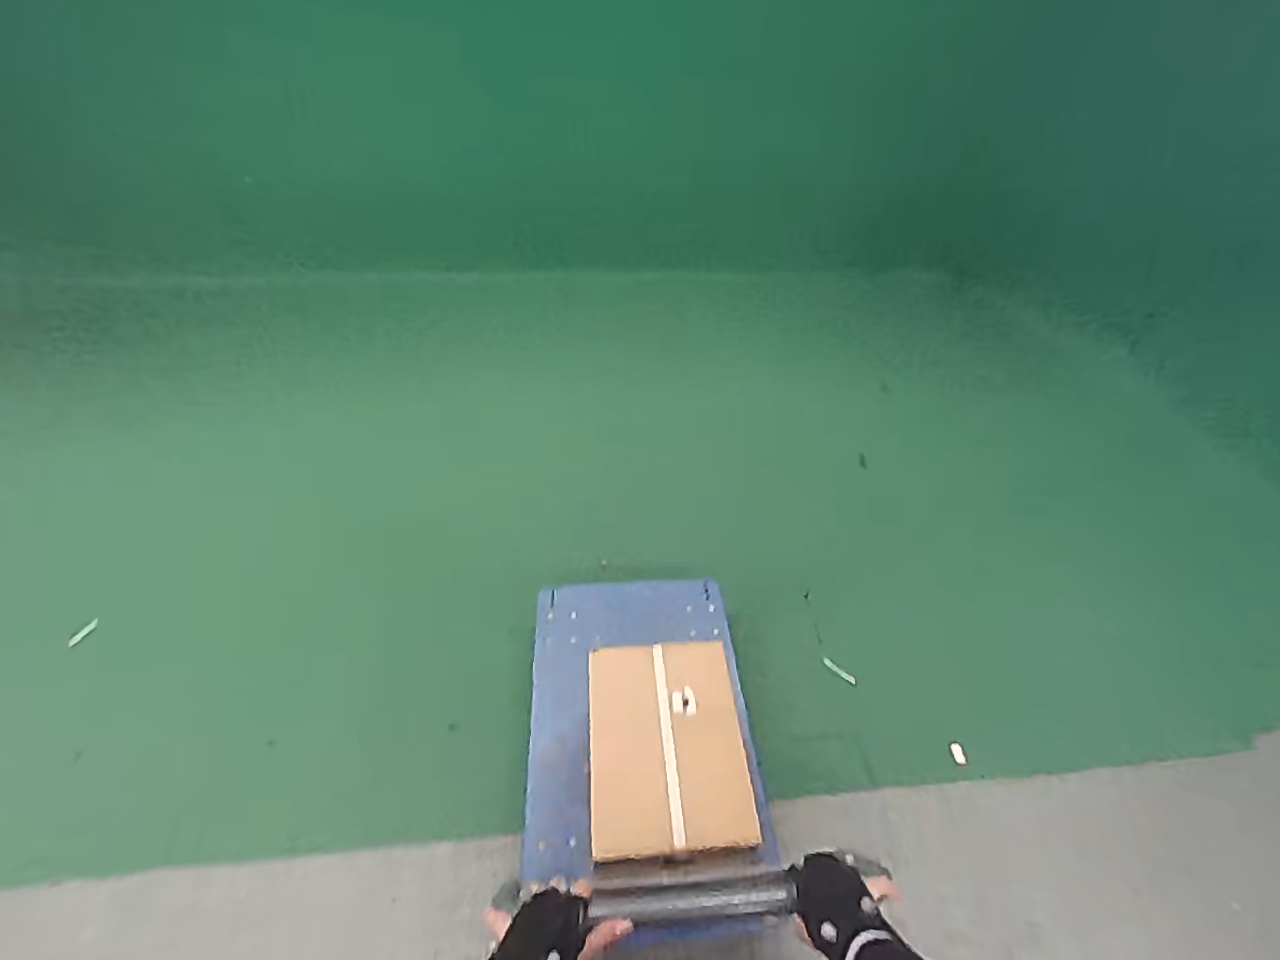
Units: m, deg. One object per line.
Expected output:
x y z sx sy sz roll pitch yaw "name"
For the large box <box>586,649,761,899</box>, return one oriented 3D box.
0.046 0.646 1.209 0.320 0.320 0.408 -2 44 -6 "large box"
